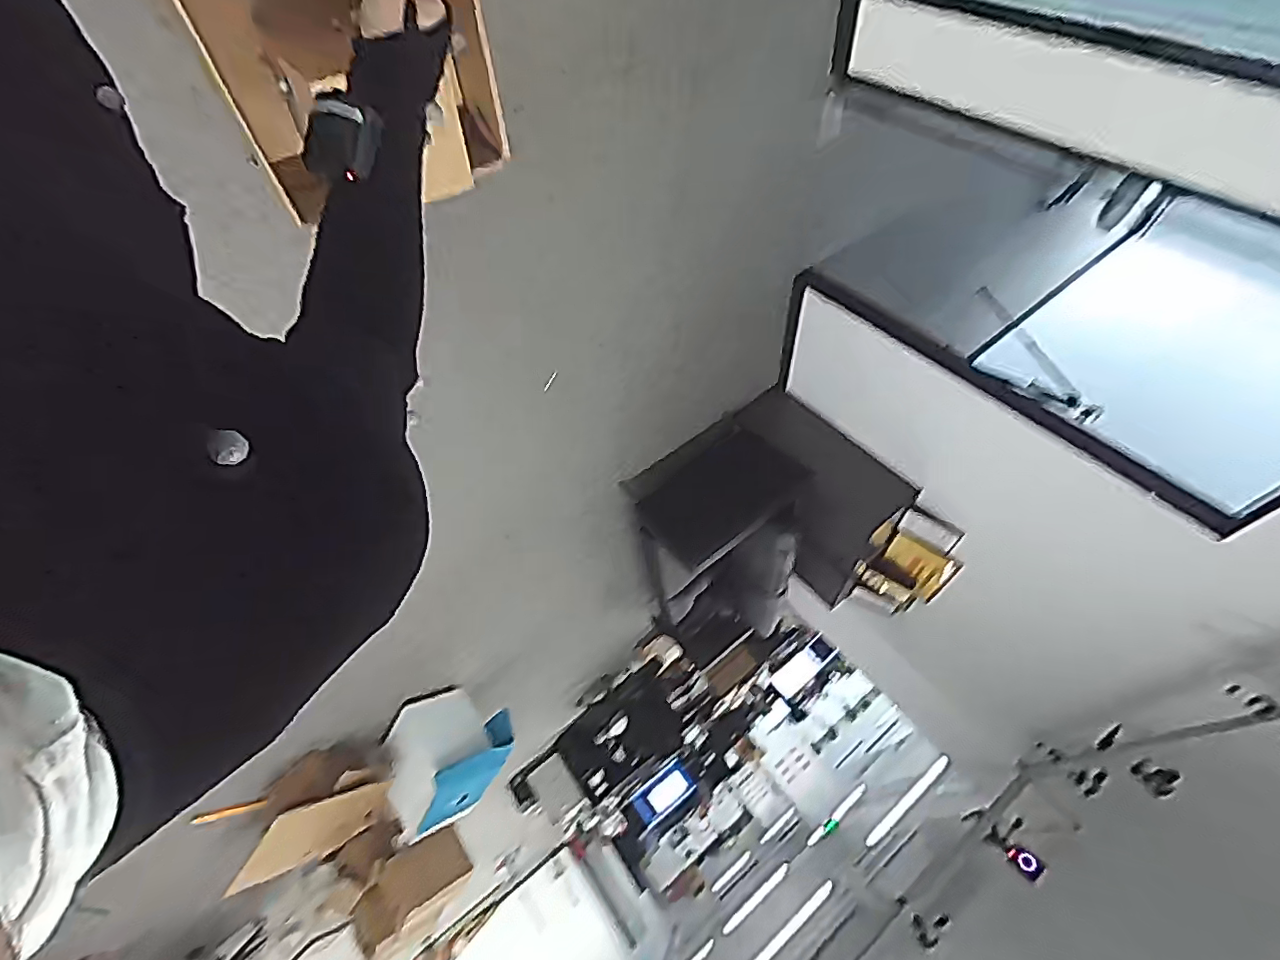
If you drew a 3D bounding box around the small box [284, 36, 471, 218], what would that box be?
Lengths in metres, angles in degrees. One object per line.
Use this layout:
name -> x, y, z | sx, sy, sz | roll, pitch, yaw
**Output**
small box -> -0.375, -0.507, 0.772 | 0.179, 0.176, 0.168 | -31, 148, -23
